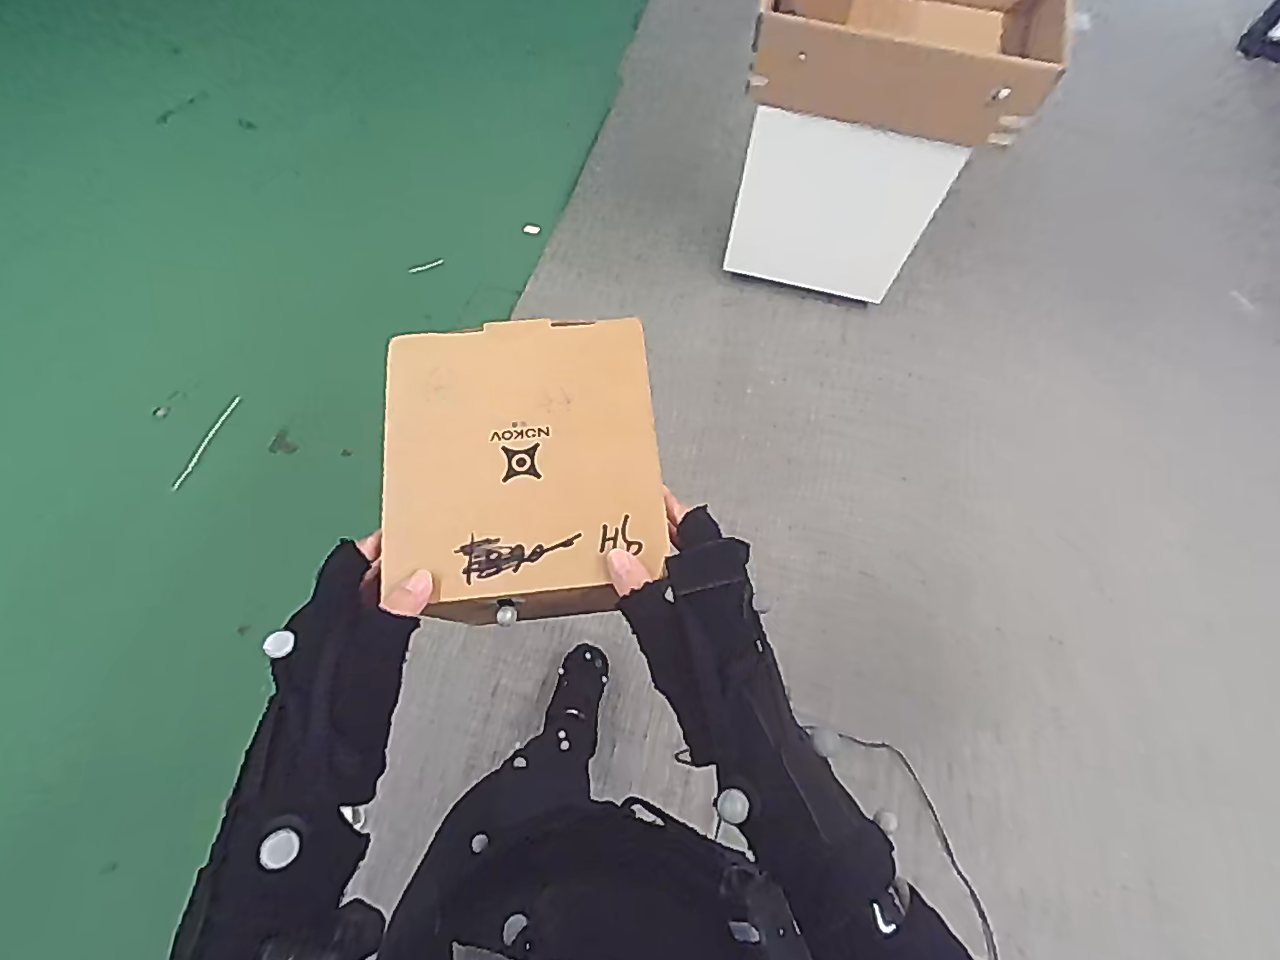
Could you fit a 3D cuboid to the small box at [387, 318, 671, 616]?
[{"bbox_3d":[-0.070,0.002,0.413,0.168,0.176,0.179,-5,72,-2],"label":"small box"}]
